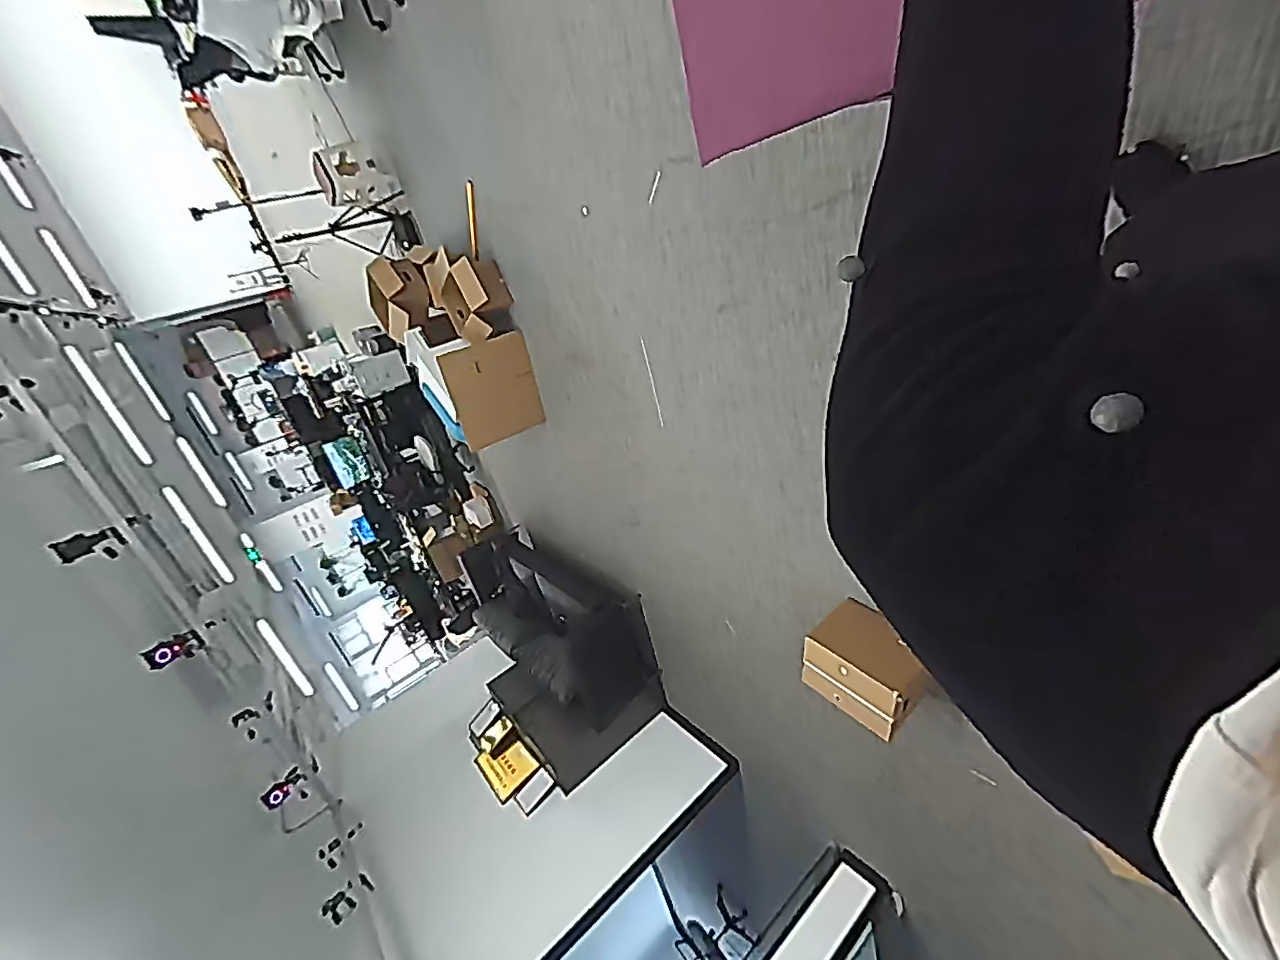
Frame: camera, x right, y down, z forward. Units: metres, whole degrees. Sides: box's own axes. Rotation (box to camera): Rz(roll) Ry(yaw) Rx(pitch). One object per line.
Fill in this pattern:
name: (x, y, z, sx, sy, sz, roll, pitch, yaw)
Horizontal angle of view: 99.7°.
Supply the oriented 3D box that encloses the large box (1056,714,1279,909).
large box: (1.514, 0.892, 1.518, 0.320, 0.320, 0.408, 57, 150, 3)
